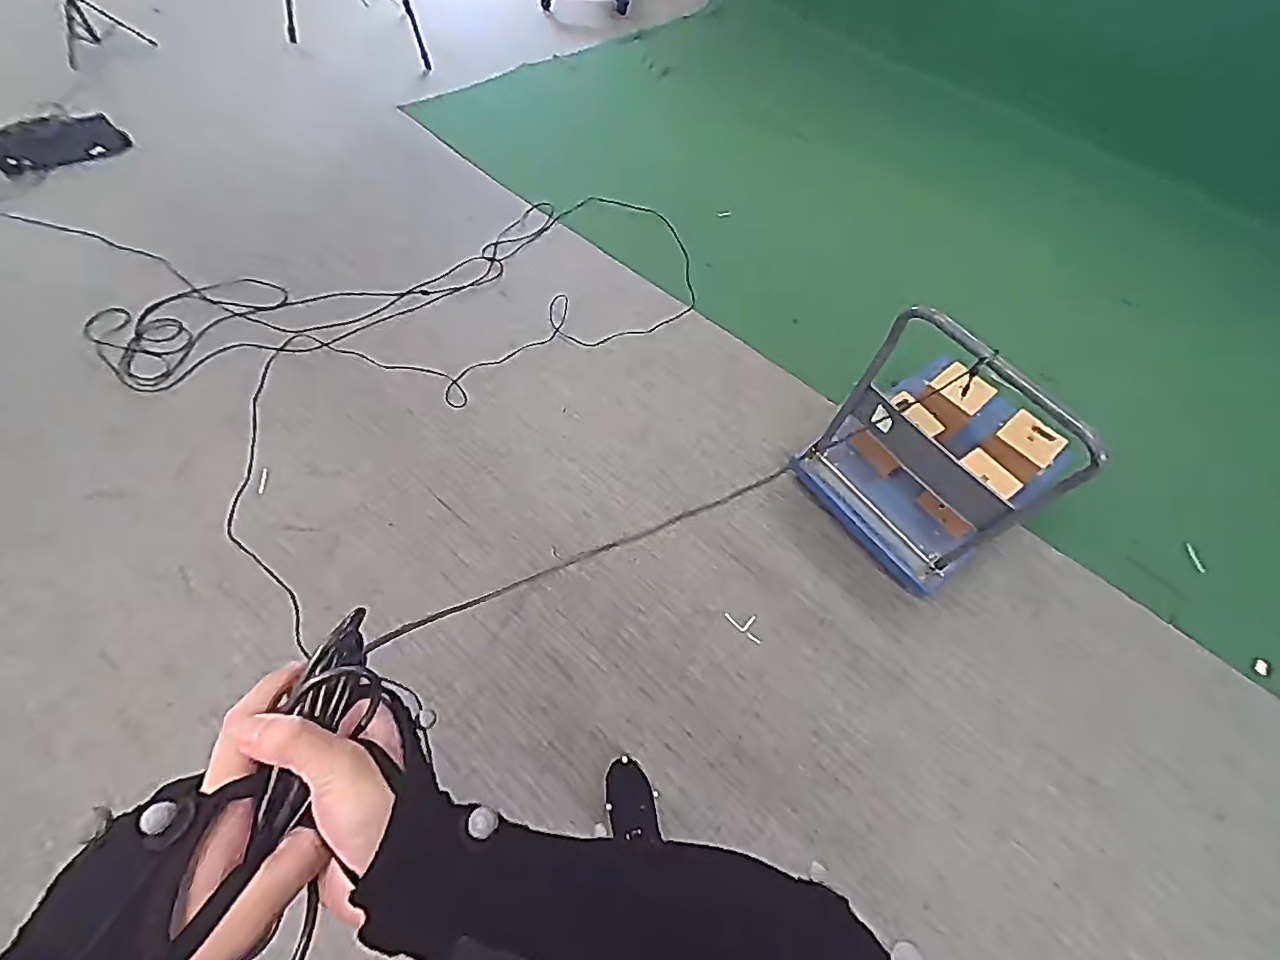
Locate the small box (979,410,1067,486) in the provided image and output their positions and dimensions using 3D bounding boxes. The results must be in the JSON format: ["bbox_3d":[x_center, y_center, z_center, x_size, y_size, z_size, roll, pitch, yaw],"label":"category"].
[{"bbox_3d":[1.209,-0.086,1.746,0.179,0.176,0.168,-35,67,-23],"label":"small box"}]

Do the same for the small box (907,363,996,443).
[{"bbox_3d":[1.045,-0.255,1.833,0.179,0.176,0.168,-34,68,-24],"label":"small box"}]

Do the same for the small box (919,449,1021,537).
[{"bbox_3d":[0.994,0.043,1.645,0.179,0.176,0.168,-30,66,-22],"label":"small box"}]
